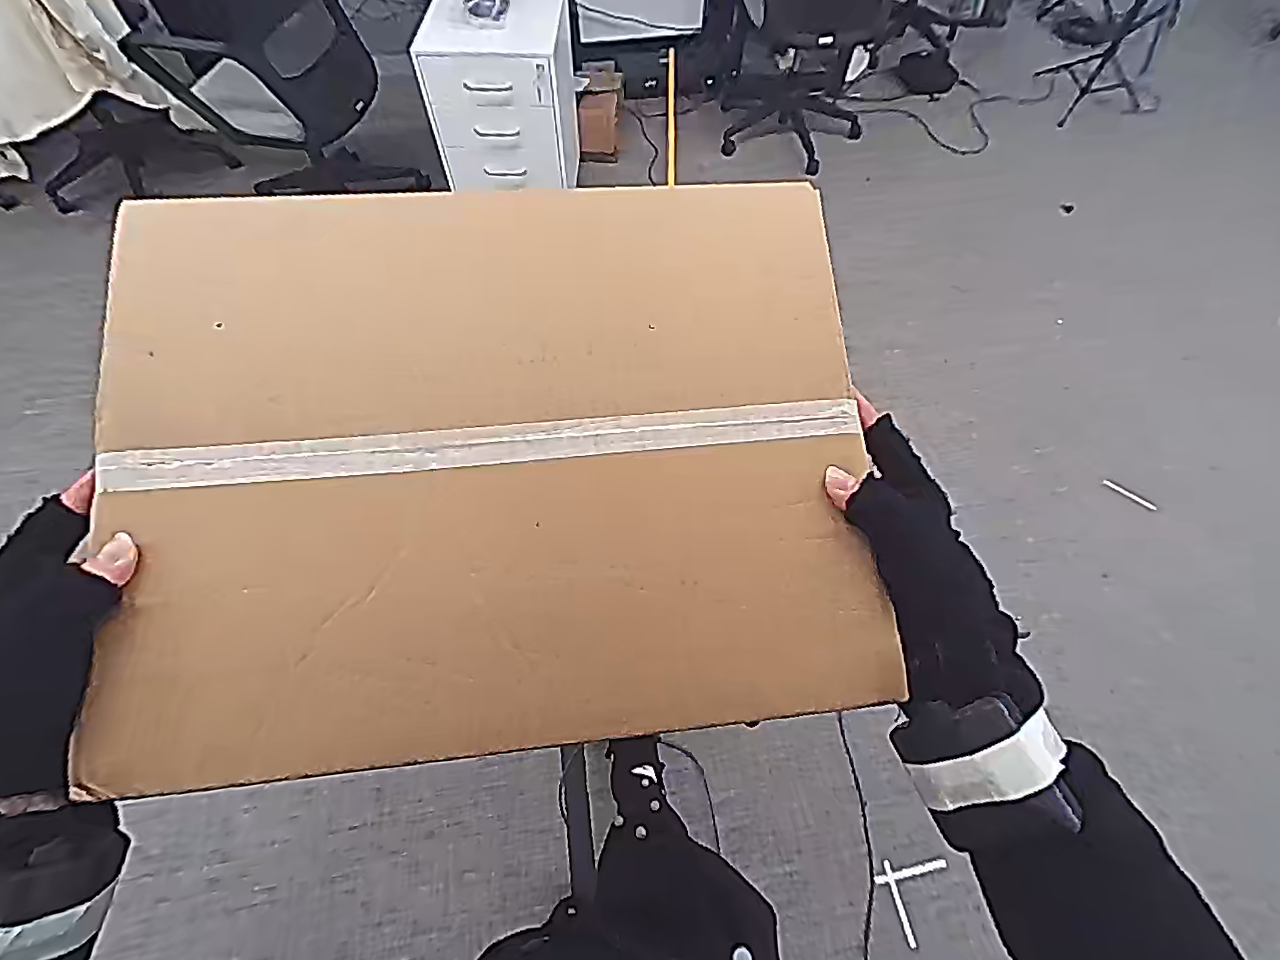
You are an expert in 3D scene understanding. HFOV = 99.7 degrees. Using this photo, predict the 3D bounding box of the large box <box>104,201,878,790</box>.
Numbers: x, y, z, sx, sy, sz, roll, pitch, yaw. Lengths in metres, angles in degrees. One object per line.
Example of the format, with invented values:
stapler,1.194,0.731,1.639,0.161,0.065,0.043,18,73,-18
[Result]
large box,-0.088,0.011,0.451,0.408,0.320,0.320,-4,79,-5
